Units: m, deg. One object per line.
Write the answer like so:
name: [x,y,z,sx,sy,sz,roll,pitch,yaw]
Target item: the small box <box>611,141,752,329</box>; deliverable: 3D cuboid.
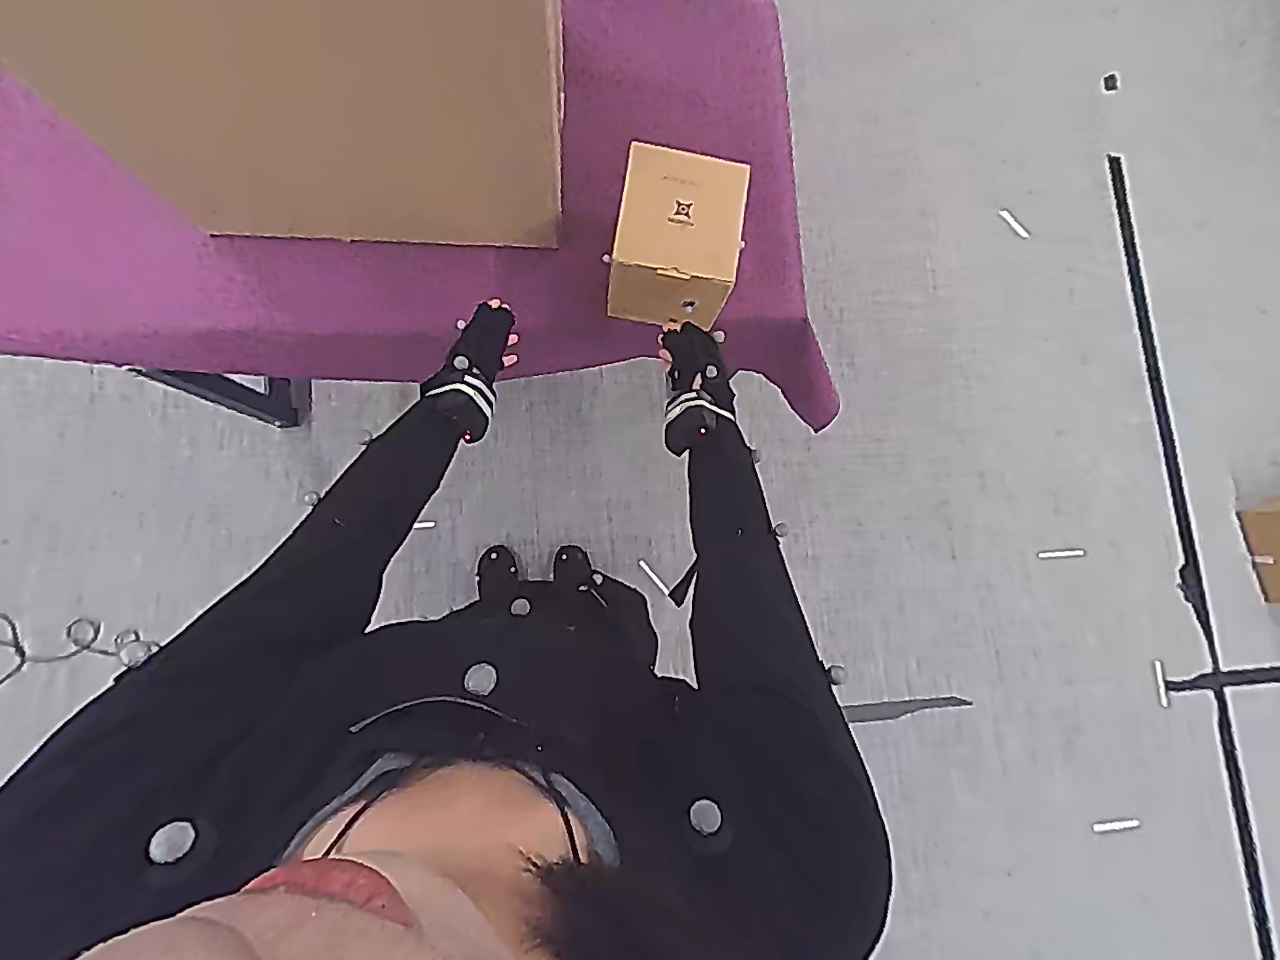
small box: [0.052,-0.343,0.791,0.168,0.176,0.179,9,81,-6]
